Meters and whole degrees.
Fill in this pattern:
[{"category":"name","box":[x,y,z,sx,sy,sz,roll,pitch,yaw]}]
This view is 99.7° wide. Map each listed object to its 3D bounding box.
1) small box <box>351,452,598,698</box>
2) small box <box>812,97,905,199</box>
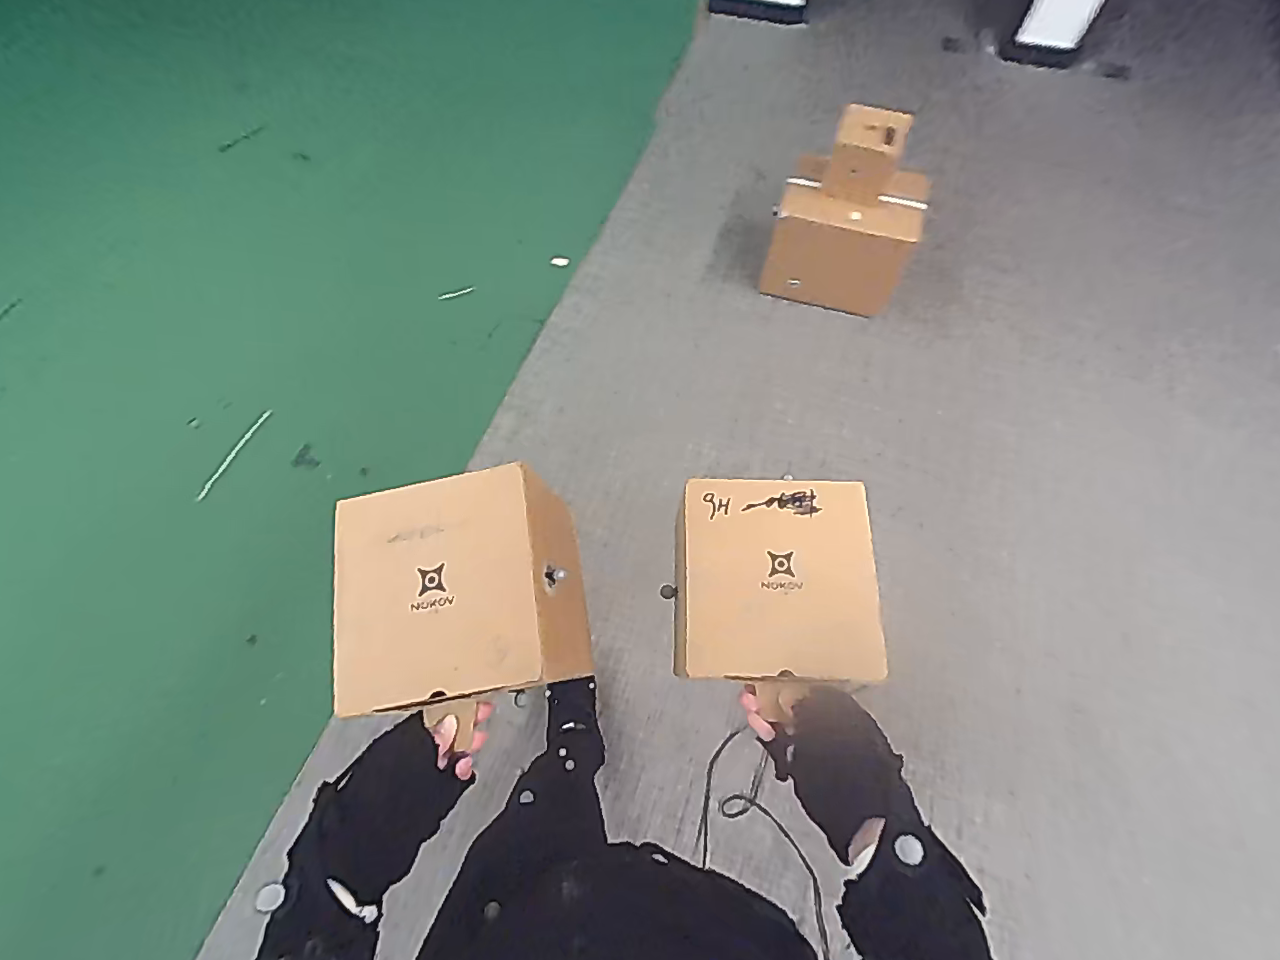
[{"category":"small box","box":[-0.144,0.095,0.512,0.168,0.176,0.179,-12,71,4]},{"category":"small box","box":[0.617,-0.940,1.545,0.179,0.176,0.168,23,70,10]}]
